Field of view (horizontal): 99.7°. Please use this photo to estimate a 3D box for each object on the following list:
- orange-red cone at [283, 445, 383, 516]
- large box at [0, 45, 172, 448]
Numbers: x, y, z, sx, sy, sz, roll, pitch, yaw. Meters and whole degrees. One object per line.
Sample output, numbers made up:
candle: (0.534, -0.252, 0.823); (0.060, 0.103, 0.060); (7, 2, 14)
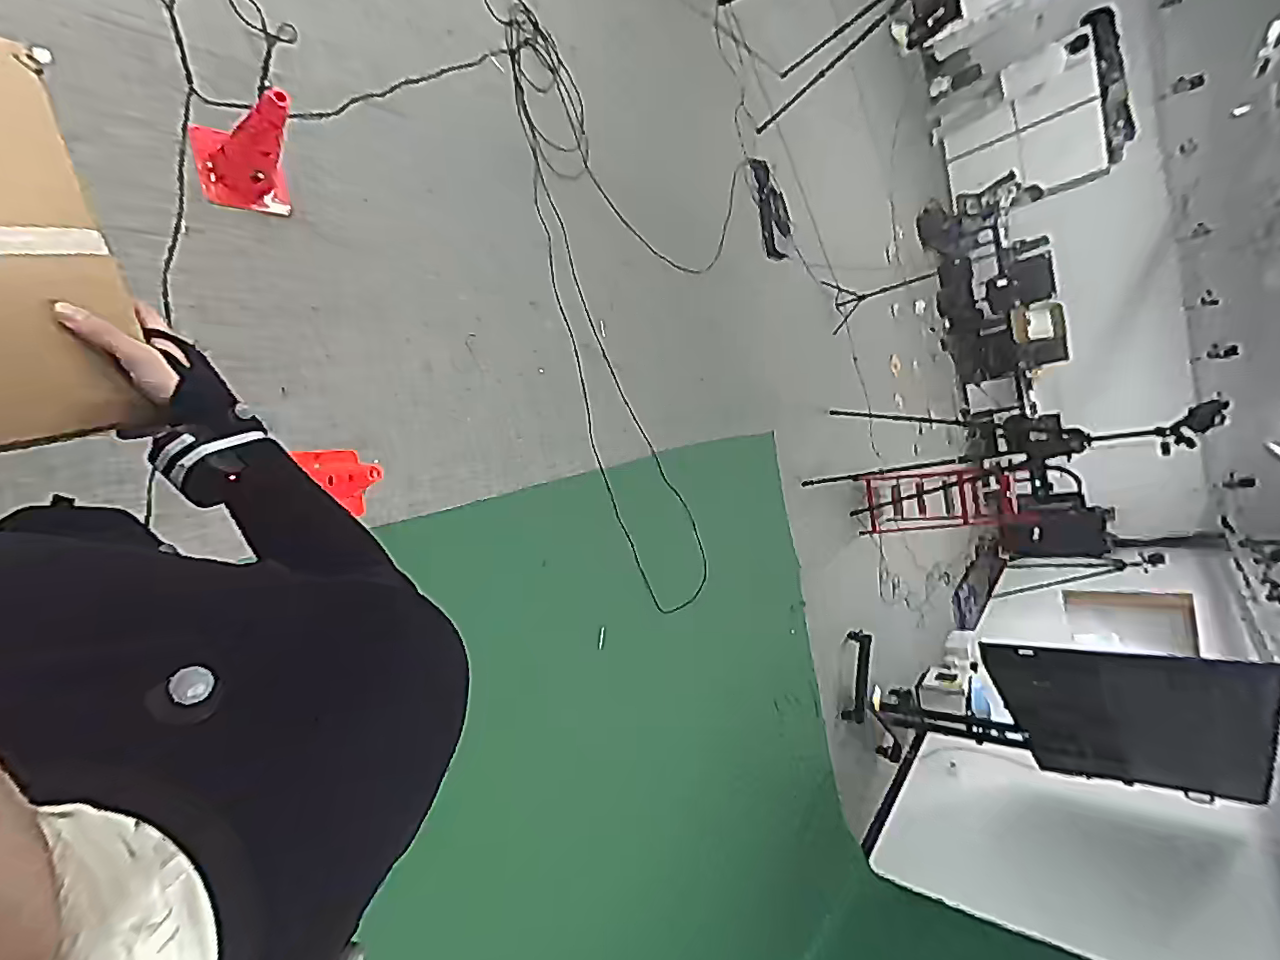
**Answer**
orange-red cone: (-0.770, -0.014, 1.426); (0.199, 0.360, 0.198); (-6, 90, -49)
large box: (-0.719, -0.157, 0.447); (0.408, 0.320, 0.320); (-25, 111, -46)
